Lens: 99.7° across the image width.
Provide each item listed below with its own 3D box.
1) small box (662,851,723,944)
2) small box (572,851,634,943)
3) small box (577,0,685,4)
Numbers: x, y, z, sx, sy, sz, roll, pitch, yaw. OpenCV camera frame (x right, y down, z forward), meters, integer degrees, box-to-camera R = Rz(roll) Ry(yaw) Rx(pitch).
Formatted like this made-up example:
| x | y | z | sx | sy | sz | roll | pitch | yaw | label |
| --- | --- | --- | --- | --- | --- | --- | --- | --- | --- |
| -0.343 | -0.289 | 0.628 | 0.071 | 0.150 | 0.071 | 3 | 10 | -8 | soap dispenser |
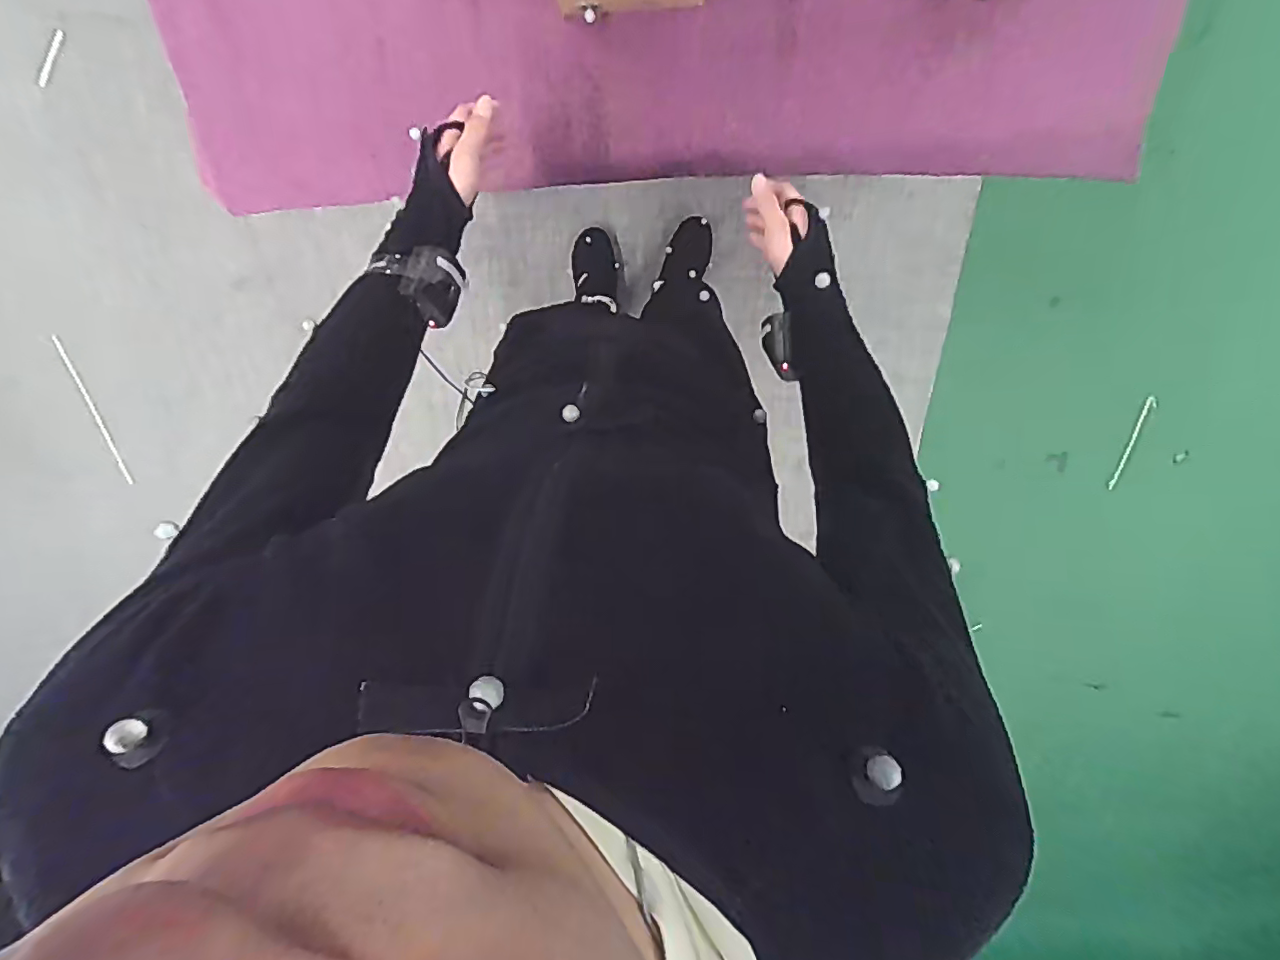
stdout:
| x | y | z | sx | sy | sz | roll | pitch | yaw | label |
| --- | --- | --- | --- | --- | --- | --- | --- | --- | --- |
| 0.153 | 1.260 | 1.634 | 0.168 | 0.176 | 0.179 | 0 | 118 | -1 | small box |
| -0.109 | 1.256 | 1.634 | 0.179 | 0.176 | 0.168 | 2 | 116 | -1 | small box |
| -0.012 | -0.592 | 0.520 | 0.168 | 0.176 | 0.179 | -3 | 116 | 0 | small box |
